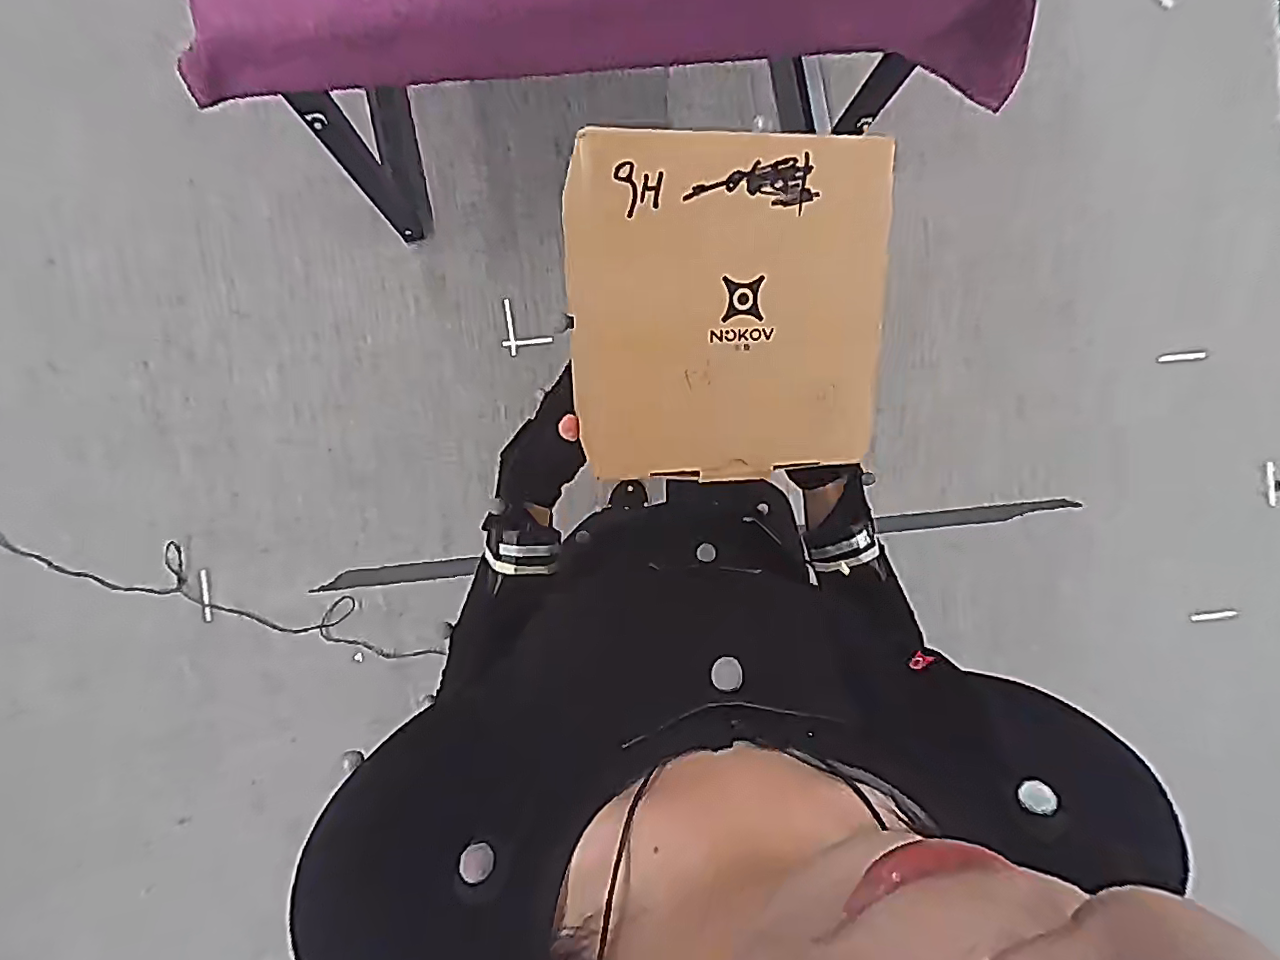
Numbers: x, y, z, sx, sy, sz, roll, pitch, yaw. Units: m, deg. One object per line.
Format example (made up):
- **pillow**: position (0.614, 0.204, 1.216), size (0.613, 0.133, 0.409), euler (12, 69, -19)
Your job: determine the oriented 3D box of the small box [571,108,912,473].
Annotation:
- **small box**: position (0.043, -0.115, 0.357), size (0.168, 0.176, 0.179), euler (-4, 107, -9)
